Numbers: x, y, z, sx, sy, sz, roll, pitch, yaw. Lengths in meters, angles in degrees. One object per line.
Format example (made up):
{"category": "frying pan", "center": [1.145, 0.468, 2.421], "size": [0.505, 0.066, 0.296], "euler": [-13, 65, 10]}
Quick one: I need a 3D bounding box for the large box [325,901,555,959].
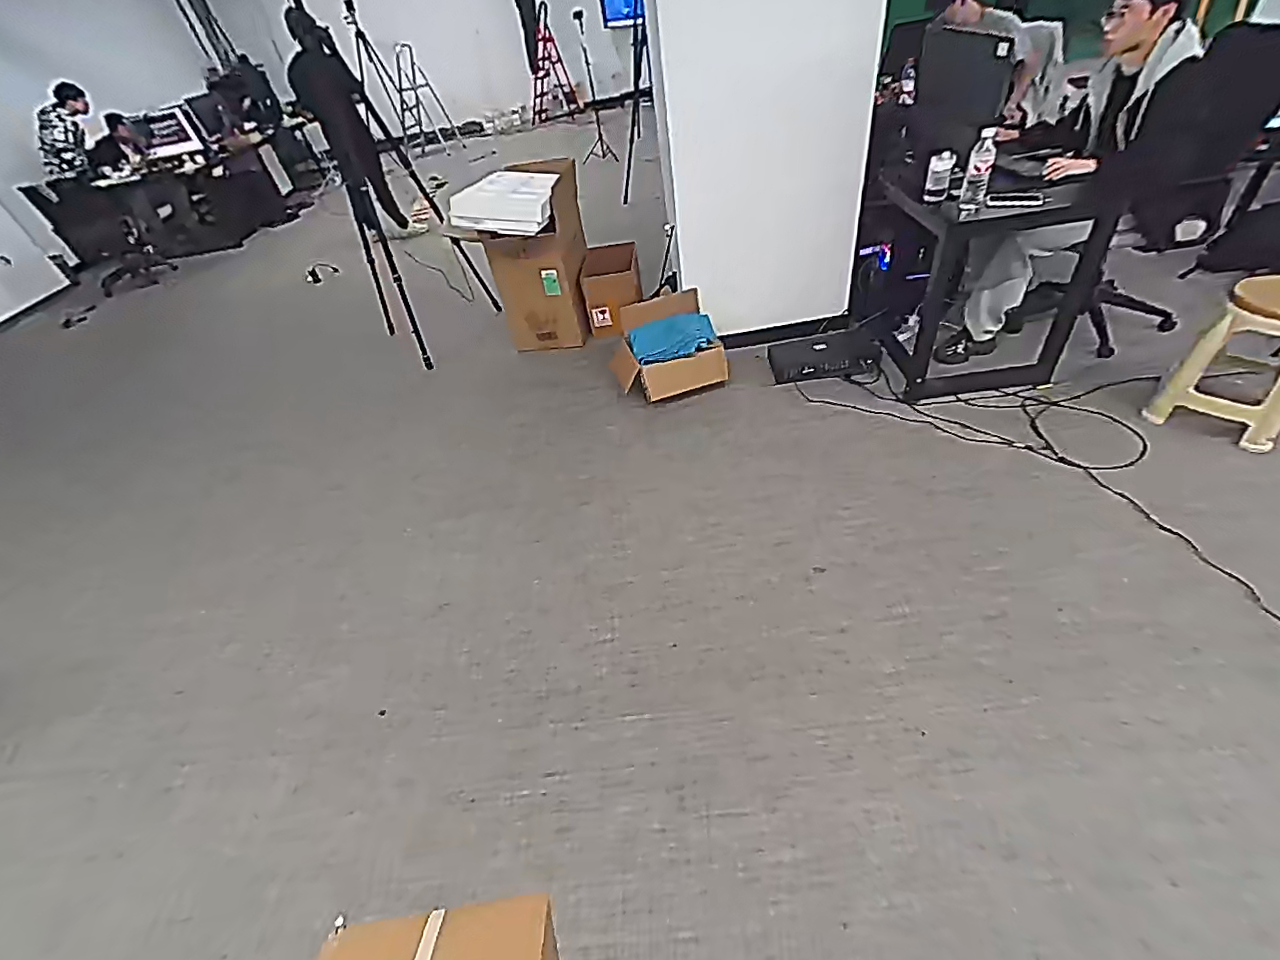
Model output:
{"category": "large box", "center": [-0.248, 0.796, 0.594], "size": [0.320, 0.320, 0.408], "euler": [-6, 5, -4]}
